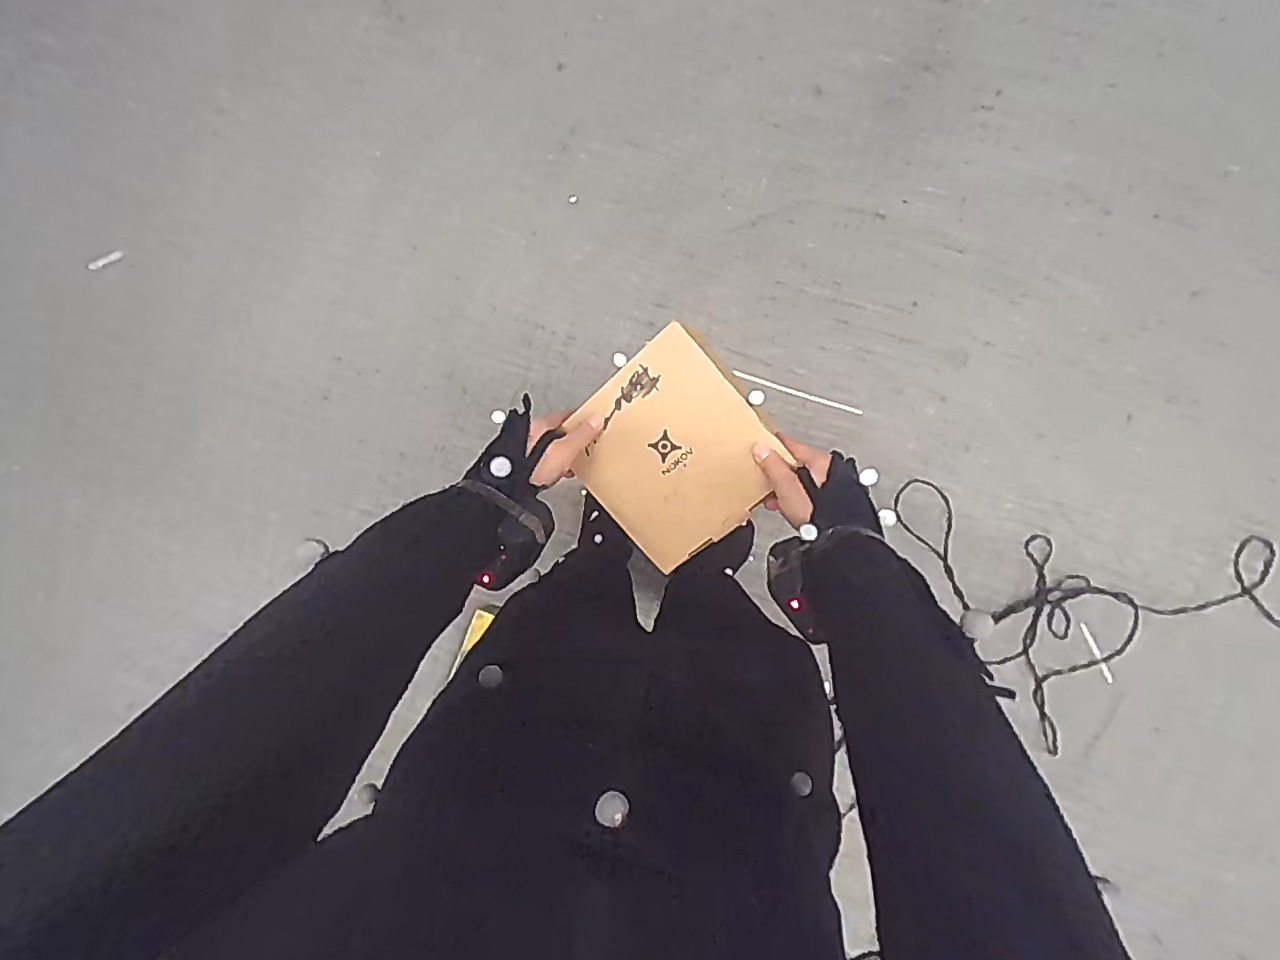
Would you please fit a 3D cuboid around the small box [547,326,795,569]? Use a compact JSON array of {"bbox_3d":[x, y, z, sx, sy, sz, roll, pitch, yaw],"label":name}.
[{"bbox_3d":[0.039,-0.044,0.572,0.168,0.176,0.179,-40,94,17],"label":"small box"}]
